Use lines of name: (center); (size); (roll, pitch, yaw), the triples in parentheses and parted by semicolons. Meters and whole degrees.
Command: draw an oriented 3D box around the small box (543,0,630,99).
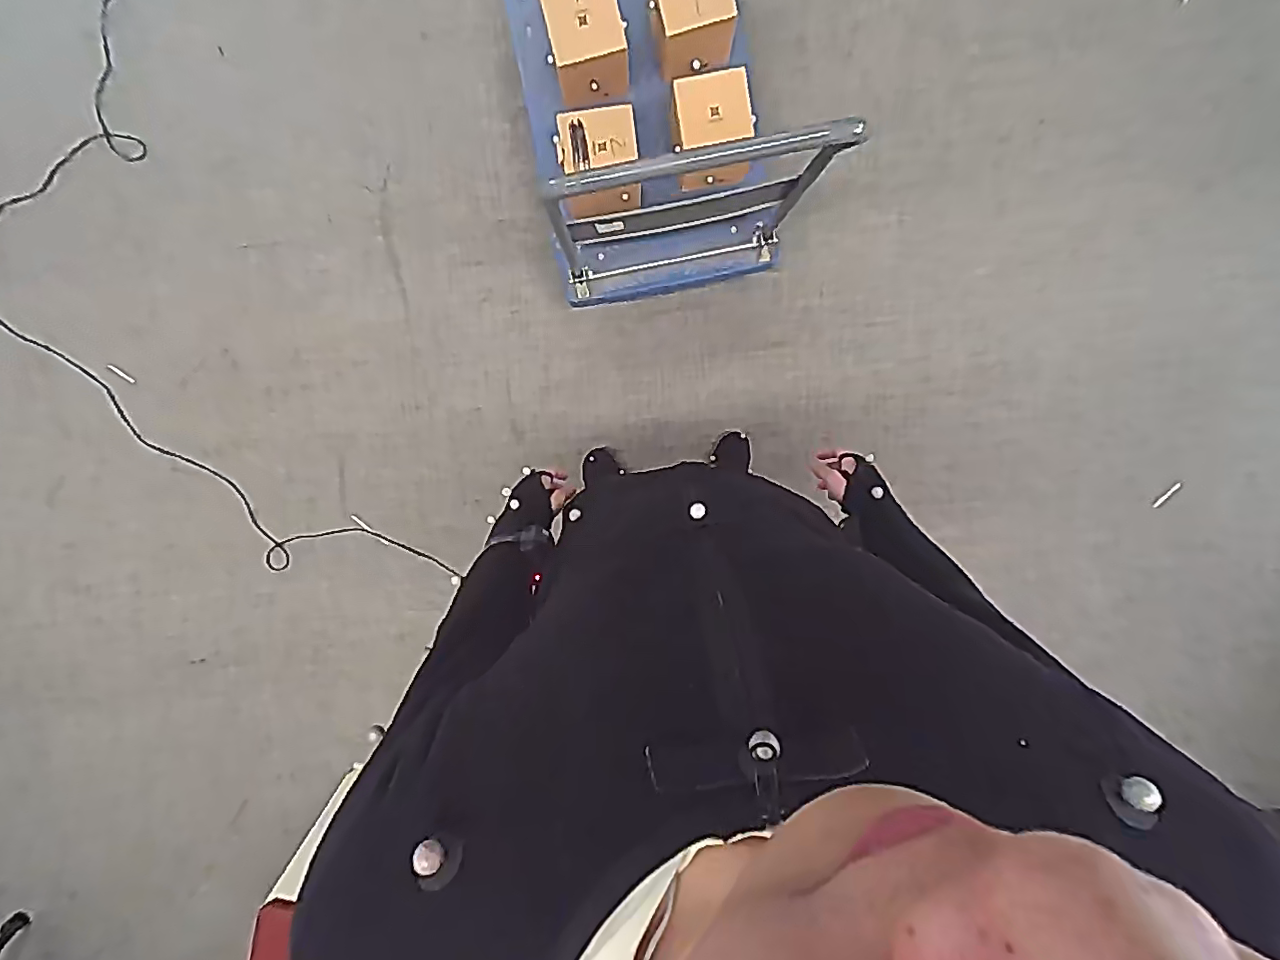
small box: (-0.122, -1.038, 1.270); (0.168, 0.176, 0.179); (-14, 95, 2)

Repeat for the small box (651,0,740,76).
small box: (0.123, -1.100, 1.259); (0.168, 0.176, 0.179); (-14, 97, 3)

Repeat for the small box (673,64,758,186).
small box: (0.173, -0.836, 1.288); (0.168, 0.176, 0.179); (-9, 96, 2)
